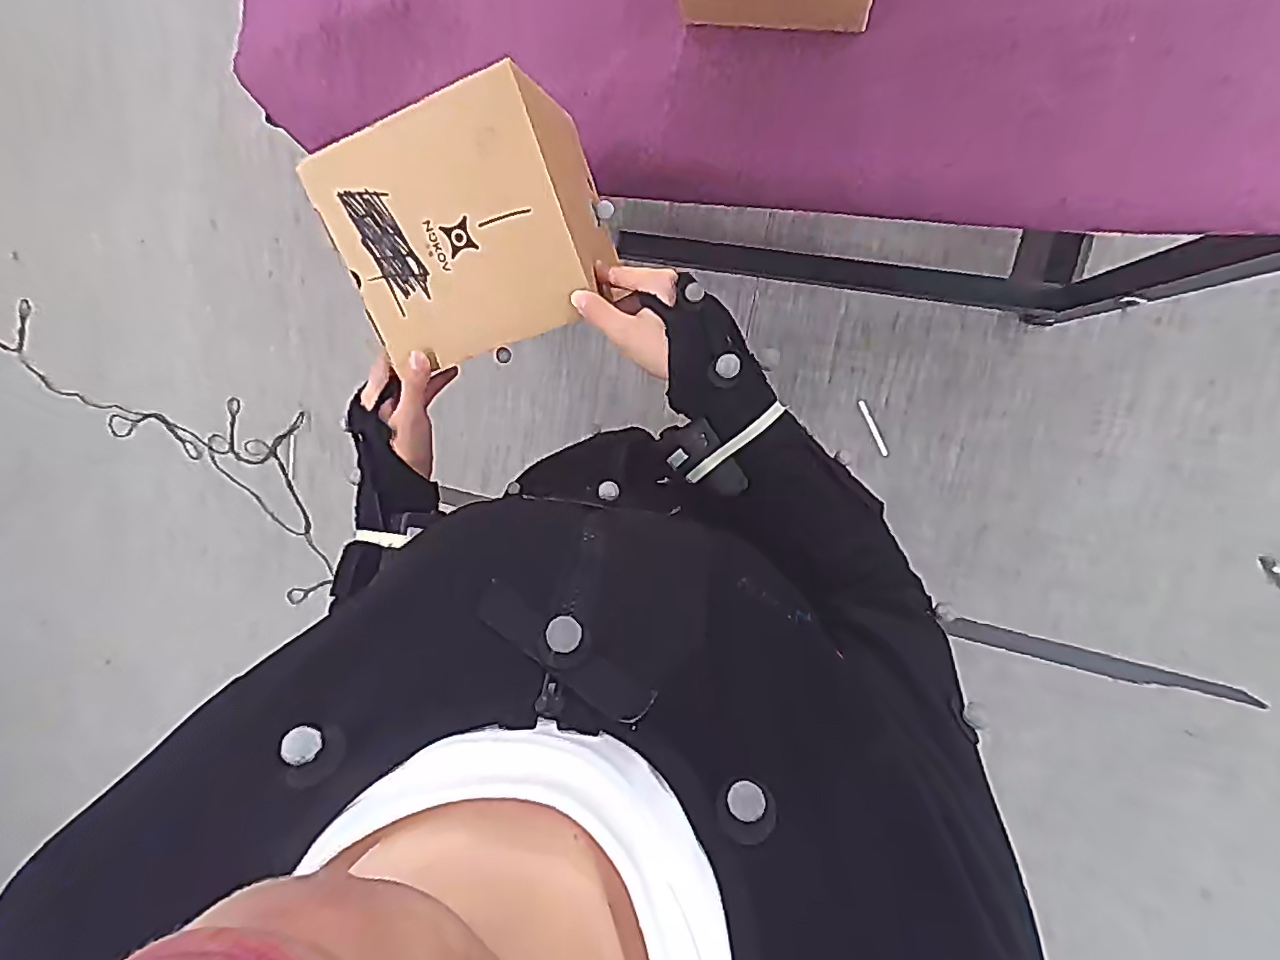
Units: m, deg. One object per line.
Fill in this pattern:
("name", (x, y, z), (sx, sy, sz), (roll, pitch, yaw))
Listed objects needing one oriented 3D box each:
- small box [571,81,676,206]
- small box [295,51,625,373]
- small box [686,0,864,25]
("small box", (-0.032, -0.664, 1.084), (0.179, 0.176, 0.168), (11, 104, 11))
("small box", (-0.126, -0.205, 0.455), (0.179, 0.176, 0.168), (-16, 109, 12))
("small box", (0.126, -0.506, 0.429), (0.179, 0.176, 0.168), (12, 101, 11))
